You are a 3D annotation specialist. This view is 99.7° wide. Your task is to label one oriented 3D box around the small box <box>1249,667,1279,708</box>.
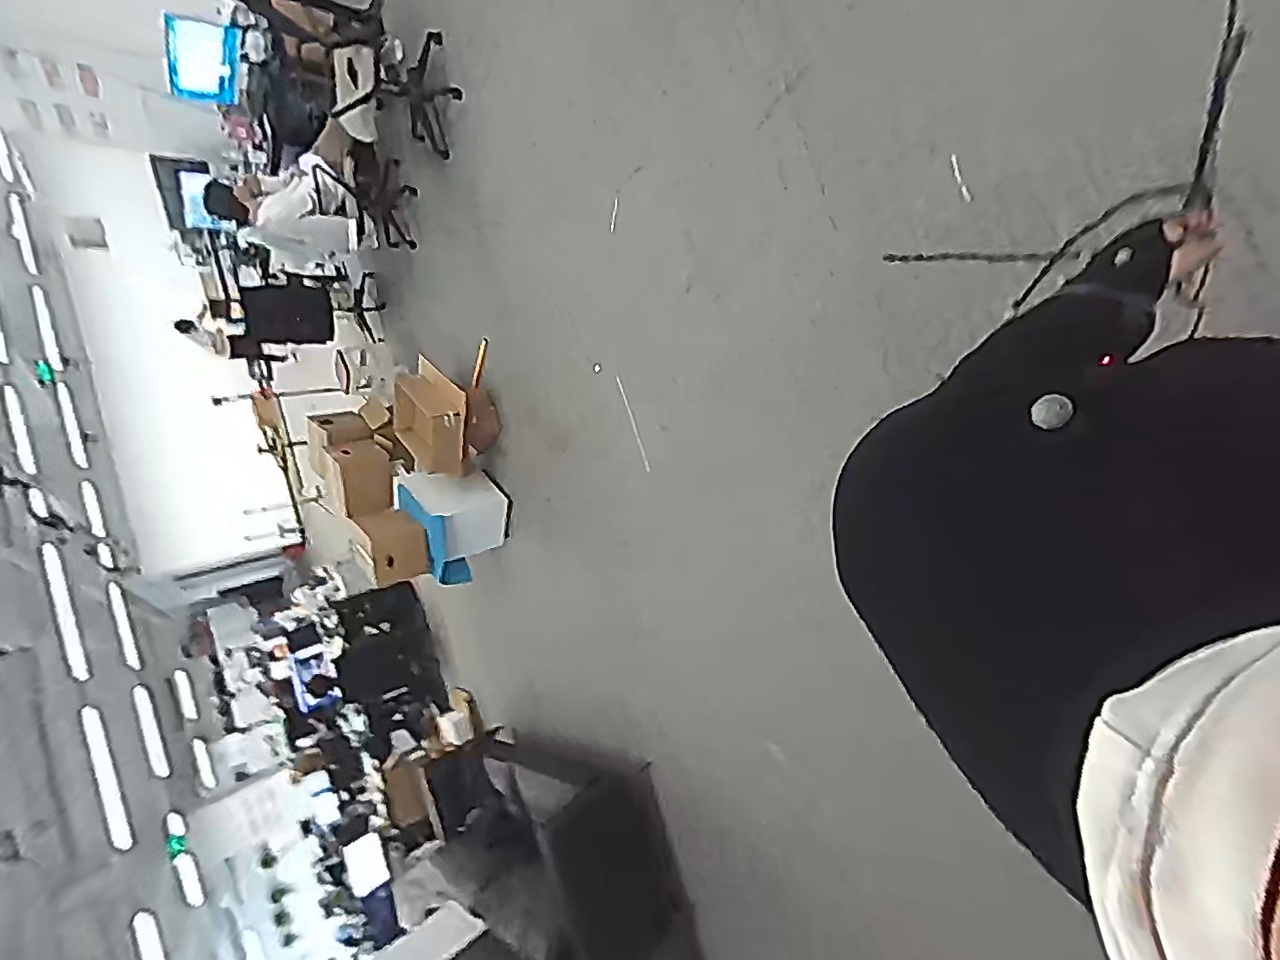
[{"bbox_3d":[1.332,0.485,1.057,0.168,0.176,0.179,-17,91,51],"label":"small box"}]
